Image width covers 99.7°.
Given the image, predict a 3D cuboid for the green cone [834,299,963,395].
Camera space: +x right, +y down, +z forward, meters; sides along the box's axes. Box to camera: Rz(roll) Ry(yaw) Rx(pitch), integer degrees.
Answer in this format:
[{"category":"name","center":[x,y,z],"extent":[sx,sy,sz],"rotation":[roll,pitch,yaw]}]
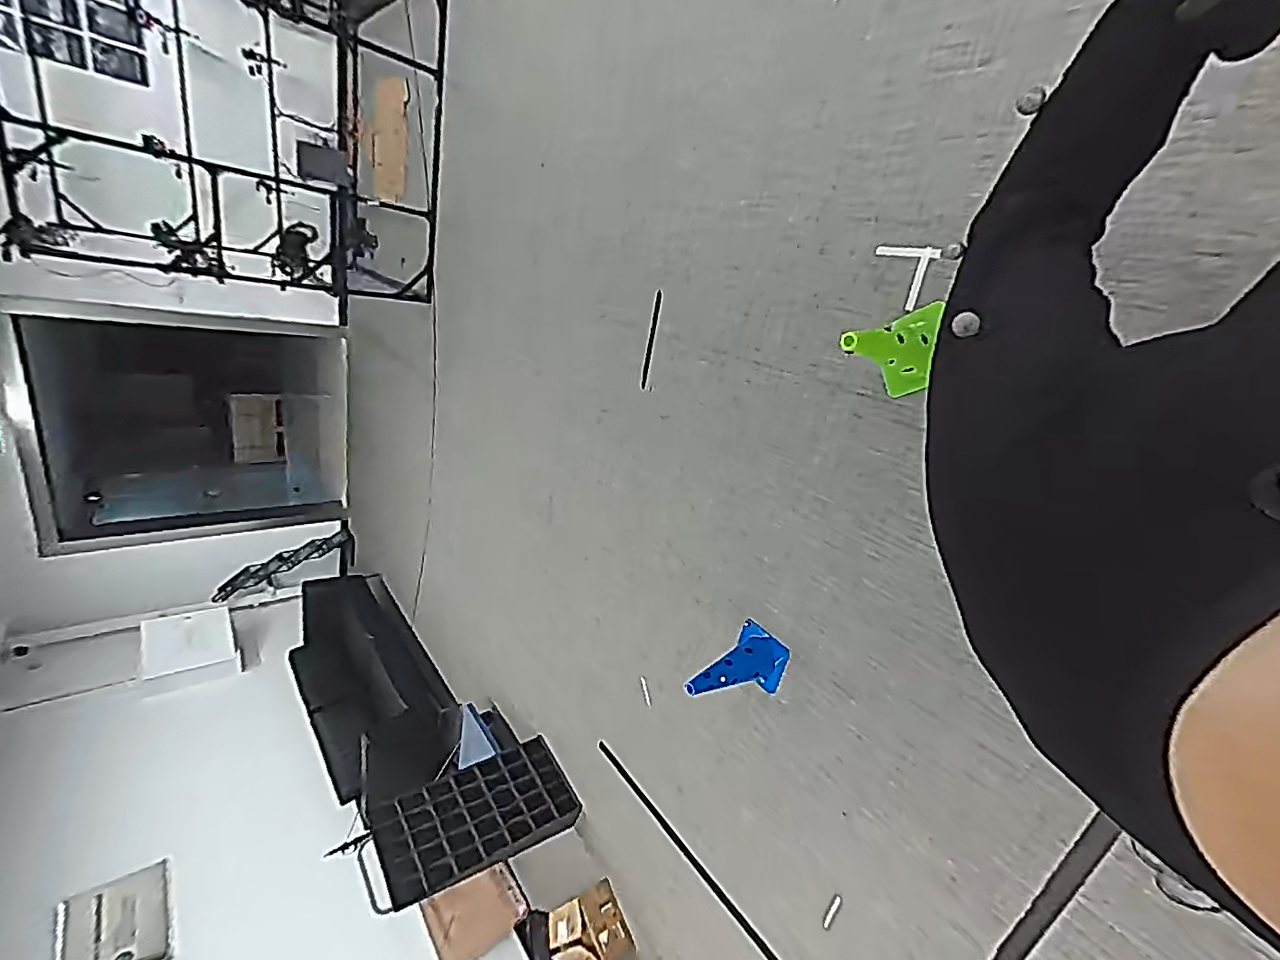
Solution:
[{"category":"green cone","center":[0.593,-0.333,1.316],"extent":[0.202,0.368,0.200],"rotation":[-23,77,50]}]

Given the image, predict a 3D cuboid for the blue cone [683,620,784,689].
[{"category":"blue cone","center":[0.297,0.635,1.823],"extent":[0.192,0.380,0.193],"rotation":[36,121,42]}]
